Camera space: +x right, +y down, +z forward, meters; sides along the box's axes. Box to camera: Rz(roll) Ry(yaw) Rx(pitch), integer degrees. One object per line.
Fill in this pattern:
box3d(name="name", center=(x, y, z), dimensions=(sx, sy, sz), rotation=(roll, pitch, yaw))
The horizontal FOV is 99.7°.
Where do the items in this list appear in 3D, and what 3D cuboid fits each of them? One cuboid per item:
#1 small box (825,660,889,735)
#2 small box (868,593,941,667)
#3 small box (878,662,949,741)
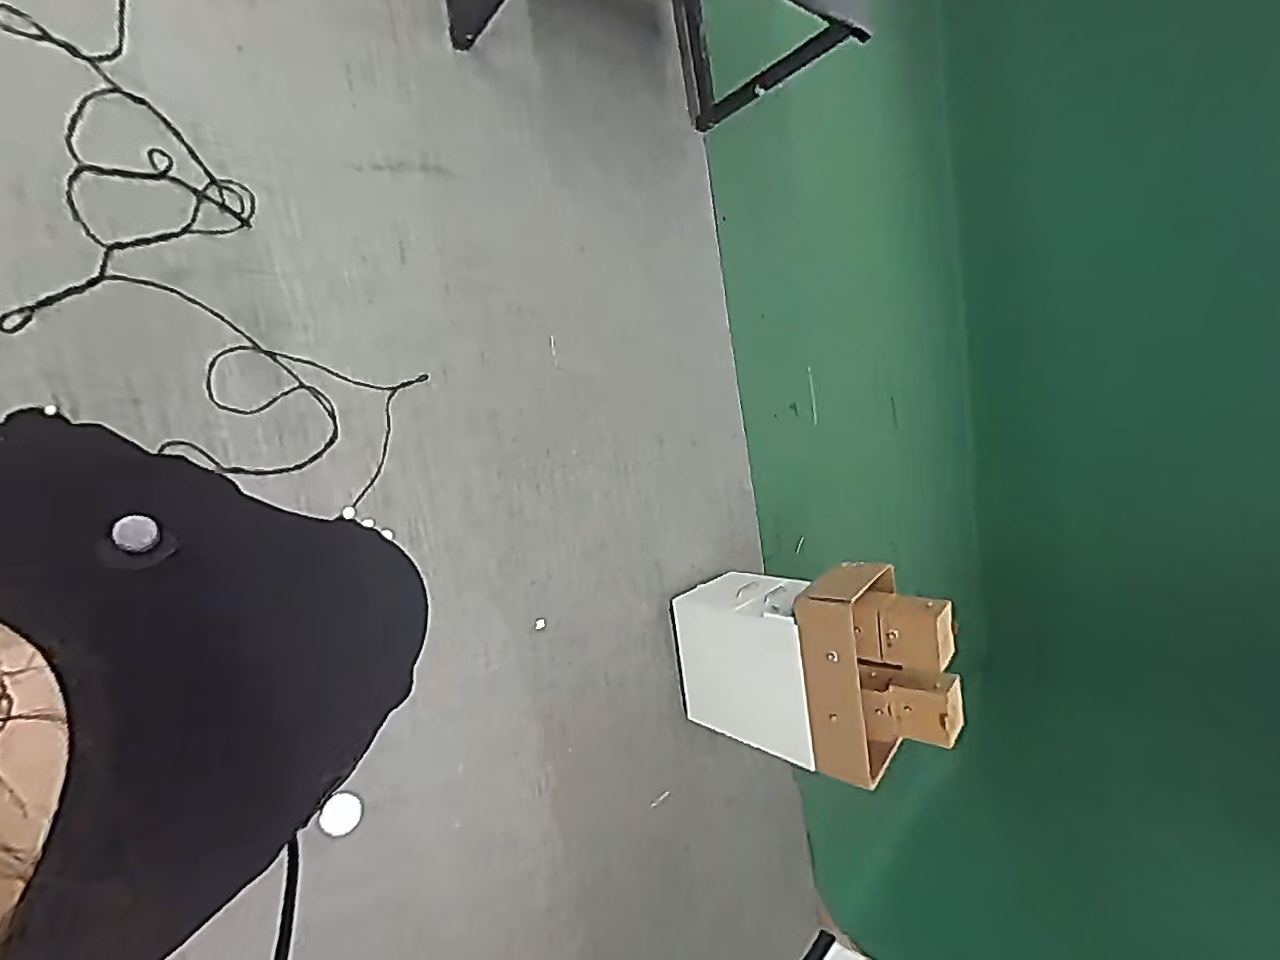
box3d(name="small box", center=(0.744, 0.728, 1.836), dimensions=(0.179, 0.176, 0.168), rotation=(-14, 96, -49))
box3d(name="small box", center=(0.832, 0.463, 1.701), dimensions=(0.179, 0.176, 0.168), rotation=(-12, 97, -48))
box3d(name="small box", center=(0.885, 0.708, 1.751), dimensions=(0.179, 0.176, 0.168), rotation=(-8, 94, -48))
